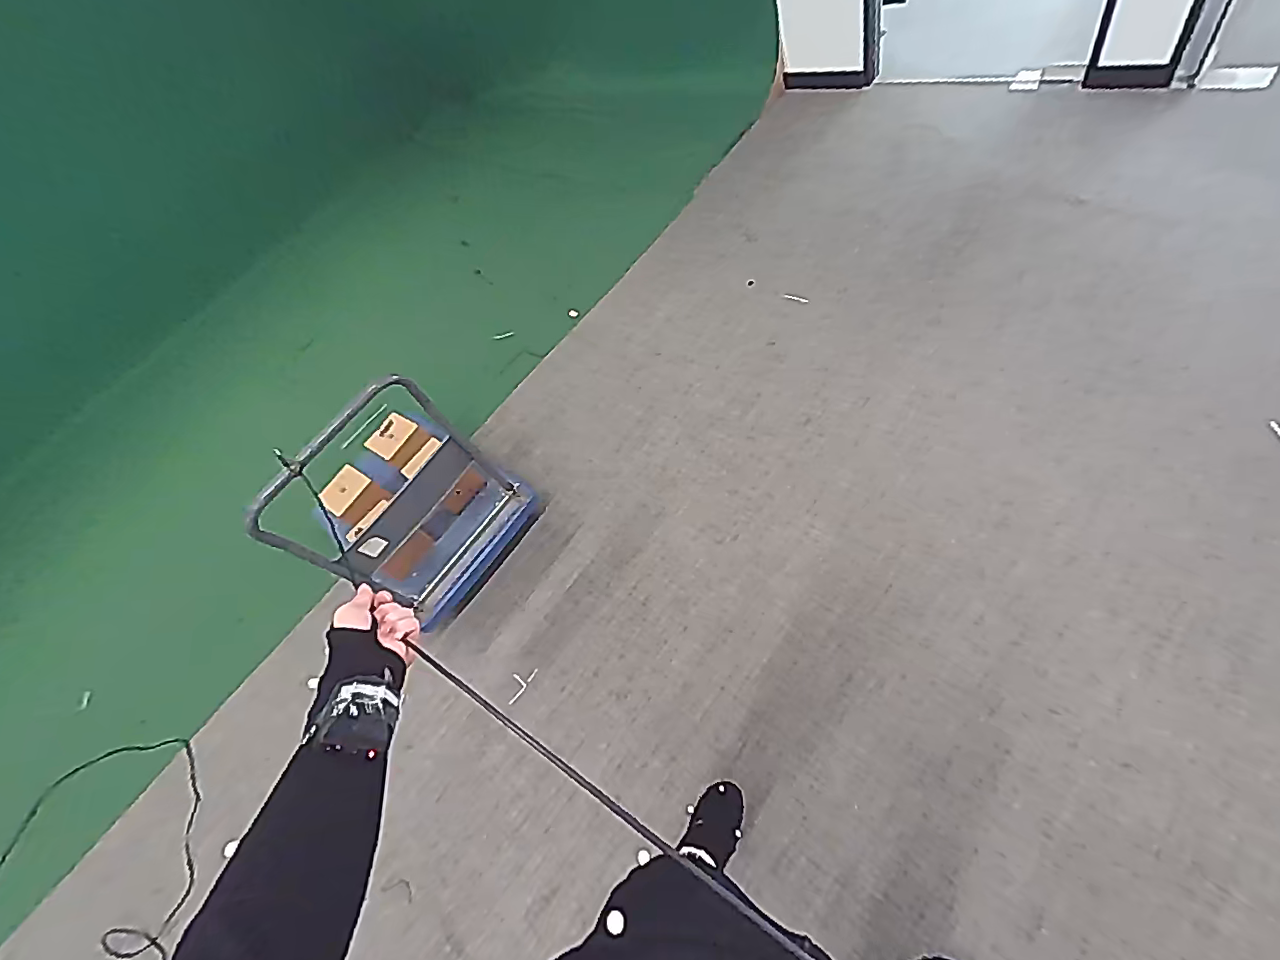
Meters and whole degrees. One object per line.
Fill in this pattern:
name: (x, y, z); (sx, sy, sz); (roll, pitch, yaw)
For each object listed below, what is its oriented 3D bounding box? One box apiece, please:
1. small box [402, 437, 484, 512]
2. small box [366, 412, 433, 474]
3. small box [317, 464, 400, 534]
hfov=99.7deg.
small box: (-0.687, -0.015, 1.898); (0.179, 0.176, 0.168); (30, 74, 33)
small box: (-0.885, -0.124, 2.046); (0.179, 0.176, 0.168); (25, 72, 31)
small box: (-1.022, 0.075, 1.975); (0.179, 0.176, 0.168); (25, 70, 32)
